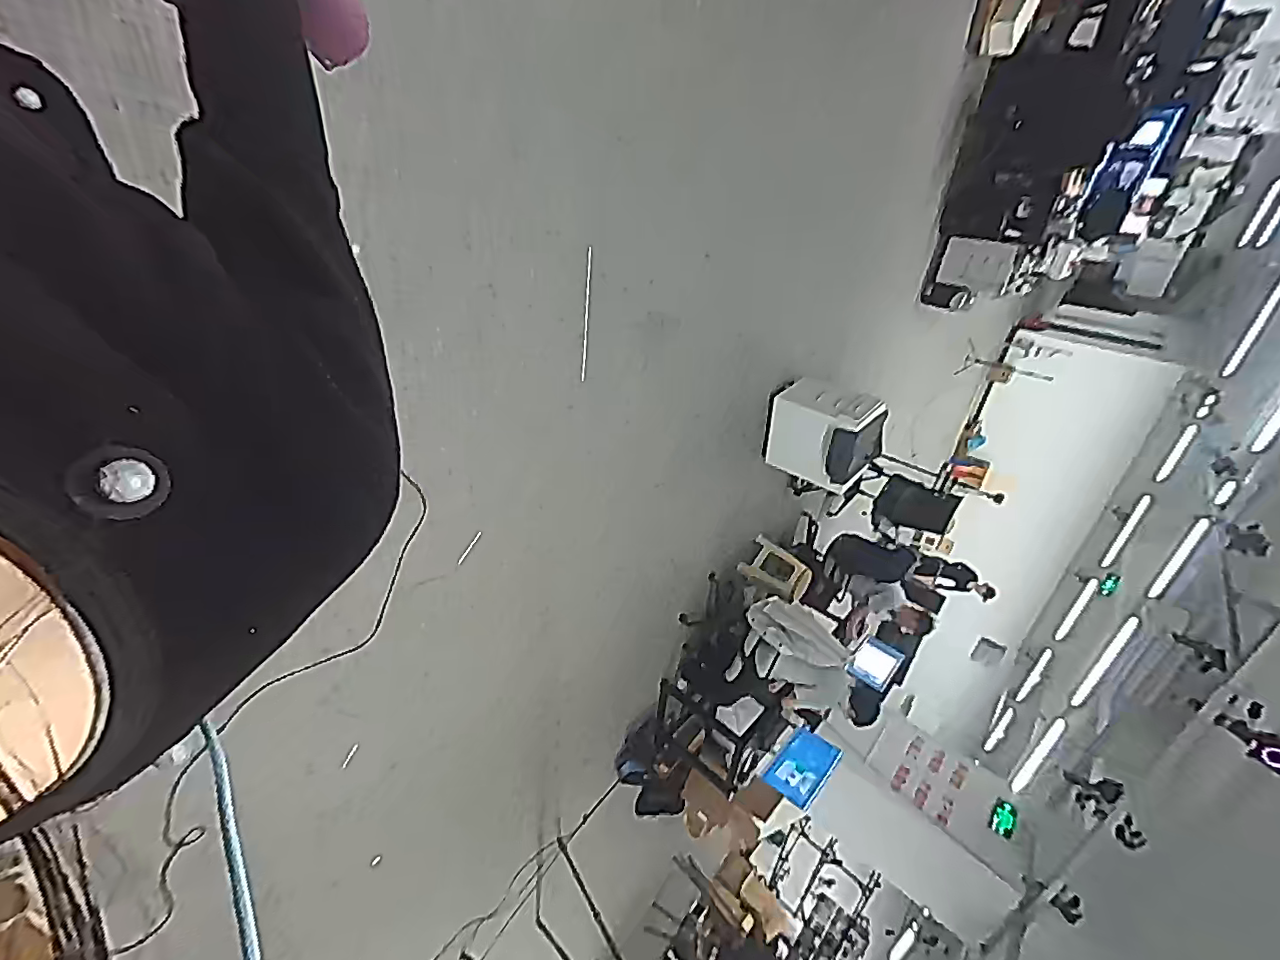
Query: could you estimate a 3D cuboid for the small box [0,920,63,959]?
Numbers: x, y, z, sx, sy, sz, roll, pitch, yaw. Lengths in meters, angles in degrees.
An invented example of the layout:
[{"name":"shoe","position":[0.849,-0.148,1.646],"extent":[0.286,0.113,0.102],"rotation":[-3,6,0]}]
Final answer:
[{"name":"small box","position":[-1.542,1.228,1.303],"extent":[0.179,0.176,0.168],"rotation":[-29,132,-38]}]
